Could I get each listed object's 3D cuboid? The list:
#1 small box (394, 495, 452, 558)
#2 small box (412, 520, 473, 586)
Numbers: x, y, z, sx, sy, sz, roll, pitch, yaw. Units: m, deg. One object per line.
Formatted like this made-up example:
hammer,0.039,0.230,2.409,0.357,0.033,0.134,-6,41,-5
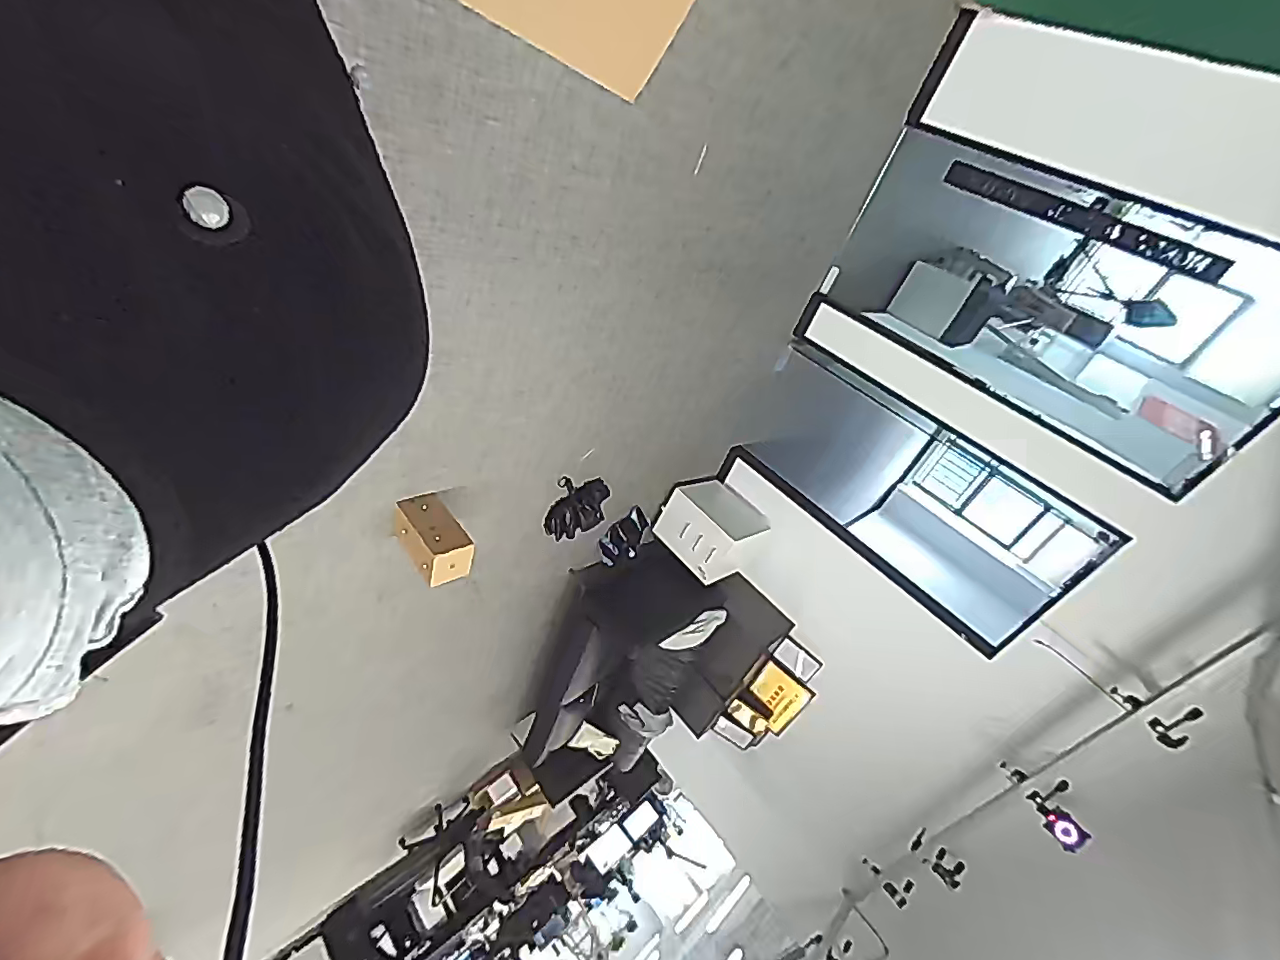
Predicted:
small box,-0.891,0.181,2.211,0.168,0.176,0.179,-19,142,-42
small box,-0.784,0.279,2.136,0.168,0.176,0.179,-18,143,-42
